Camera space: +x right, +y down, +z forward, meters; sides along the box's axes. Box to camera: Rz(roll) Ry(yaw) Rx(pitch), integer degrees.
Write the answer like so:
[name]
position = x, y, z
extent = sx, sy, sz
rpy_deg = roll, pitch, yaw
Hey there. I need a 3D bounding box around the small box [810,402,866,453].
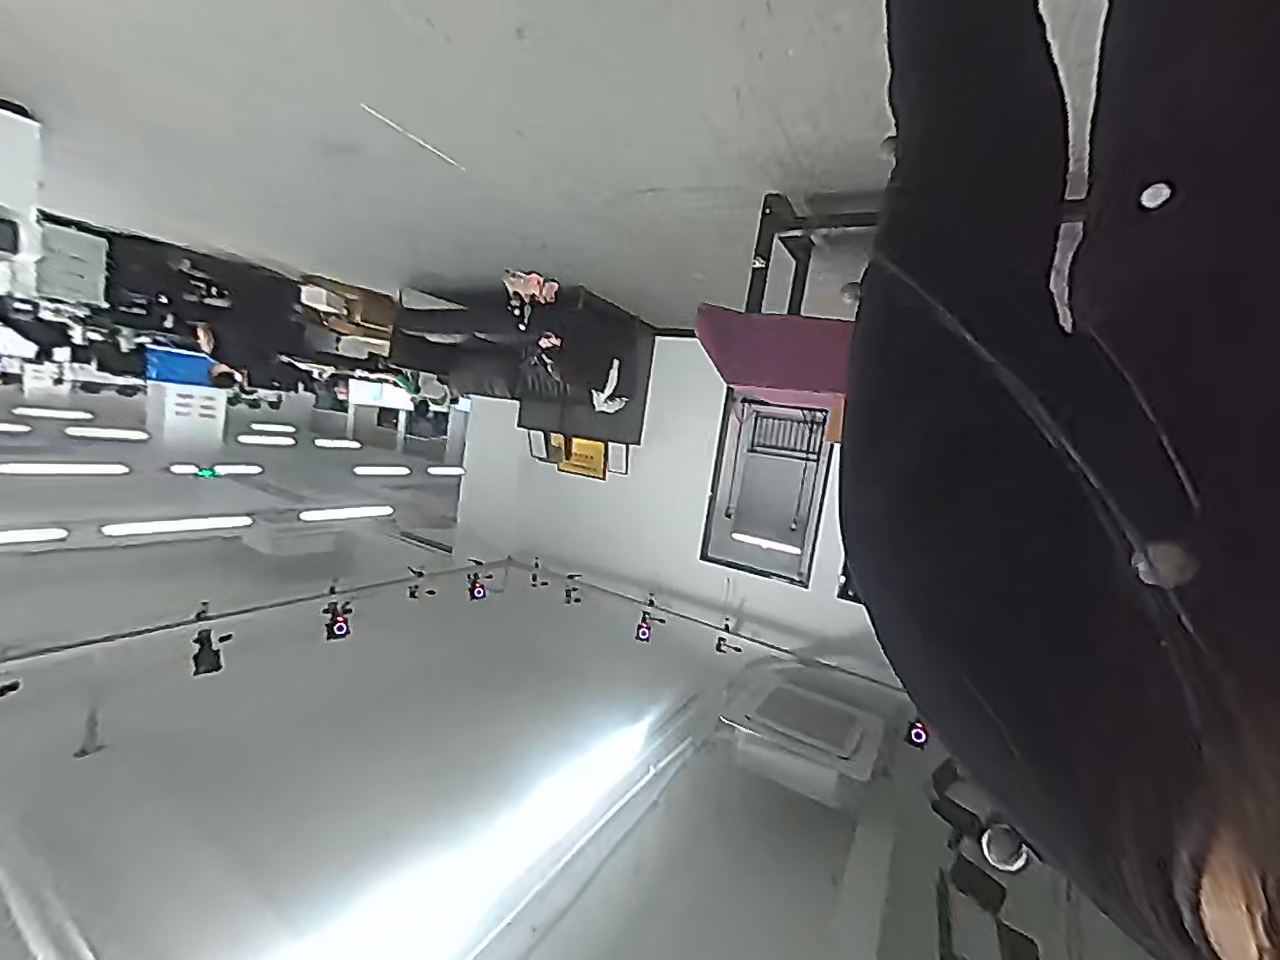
[small box]
position = 0.750, -0.198, 2.044
extent = 0.179, 0.176, 0.168
rpy_deg = 10, -176, 20
